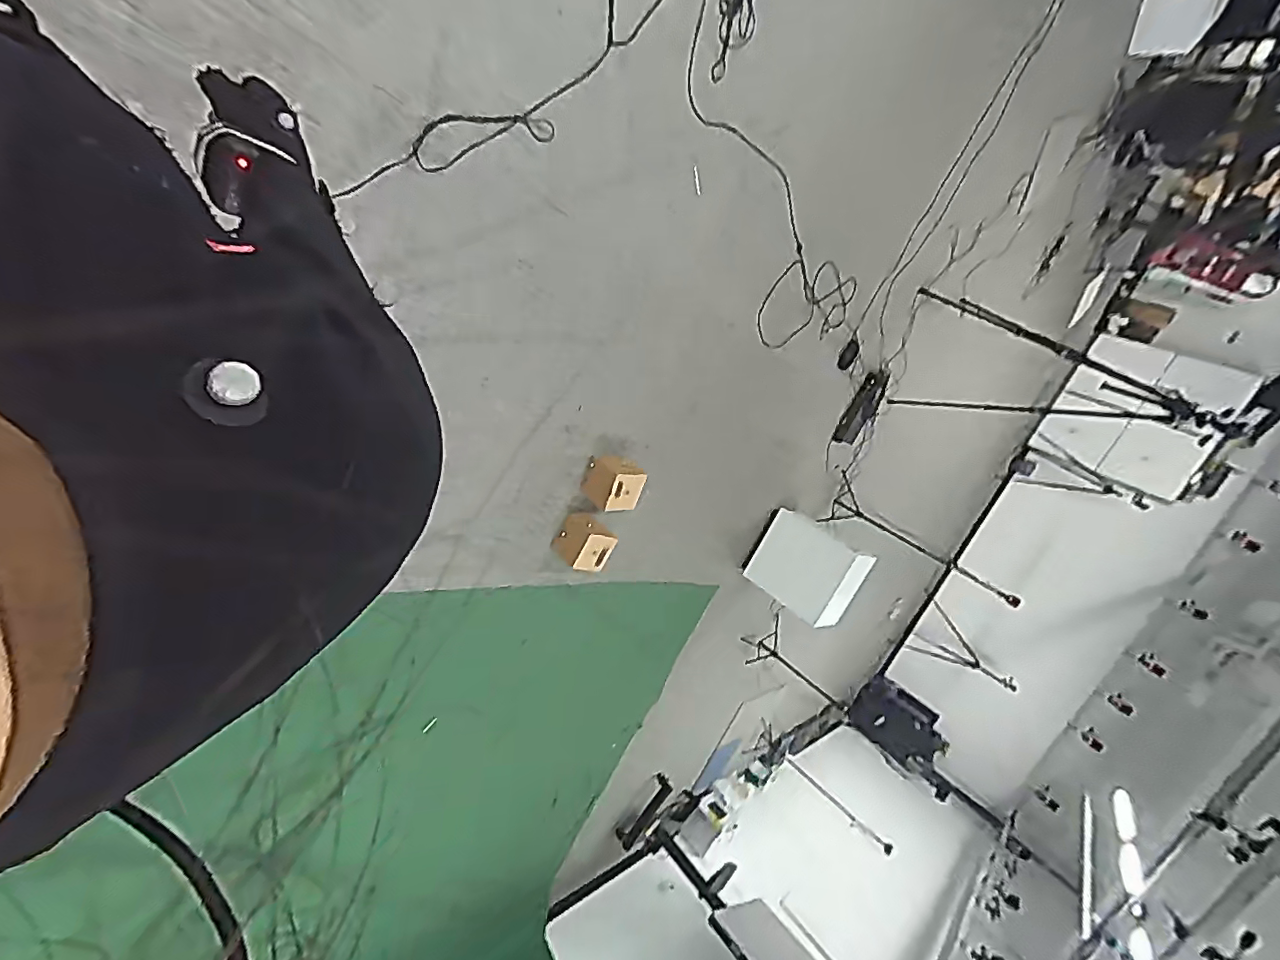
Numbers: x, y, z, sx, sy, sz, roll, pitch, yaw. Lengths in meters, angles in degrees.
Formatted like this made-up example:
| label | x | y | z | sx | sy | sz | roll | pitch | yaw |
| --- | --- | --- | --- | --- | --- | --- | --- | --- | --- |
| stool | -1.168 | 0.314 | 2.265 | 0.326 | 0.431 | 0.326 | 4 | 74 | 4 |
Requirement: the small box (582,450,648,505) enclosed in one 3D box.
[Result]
| label | x | y | z | sx | sy | sz | roll | pitch | yaw |
| --- | --- | --- | --- | --- | --- | --- | --- | --- | --- |
| small box | -0.105 | -0.010 | 2.175 | 0.179 | 0.176 | 0.168 | 0 | 119 | -47 |
